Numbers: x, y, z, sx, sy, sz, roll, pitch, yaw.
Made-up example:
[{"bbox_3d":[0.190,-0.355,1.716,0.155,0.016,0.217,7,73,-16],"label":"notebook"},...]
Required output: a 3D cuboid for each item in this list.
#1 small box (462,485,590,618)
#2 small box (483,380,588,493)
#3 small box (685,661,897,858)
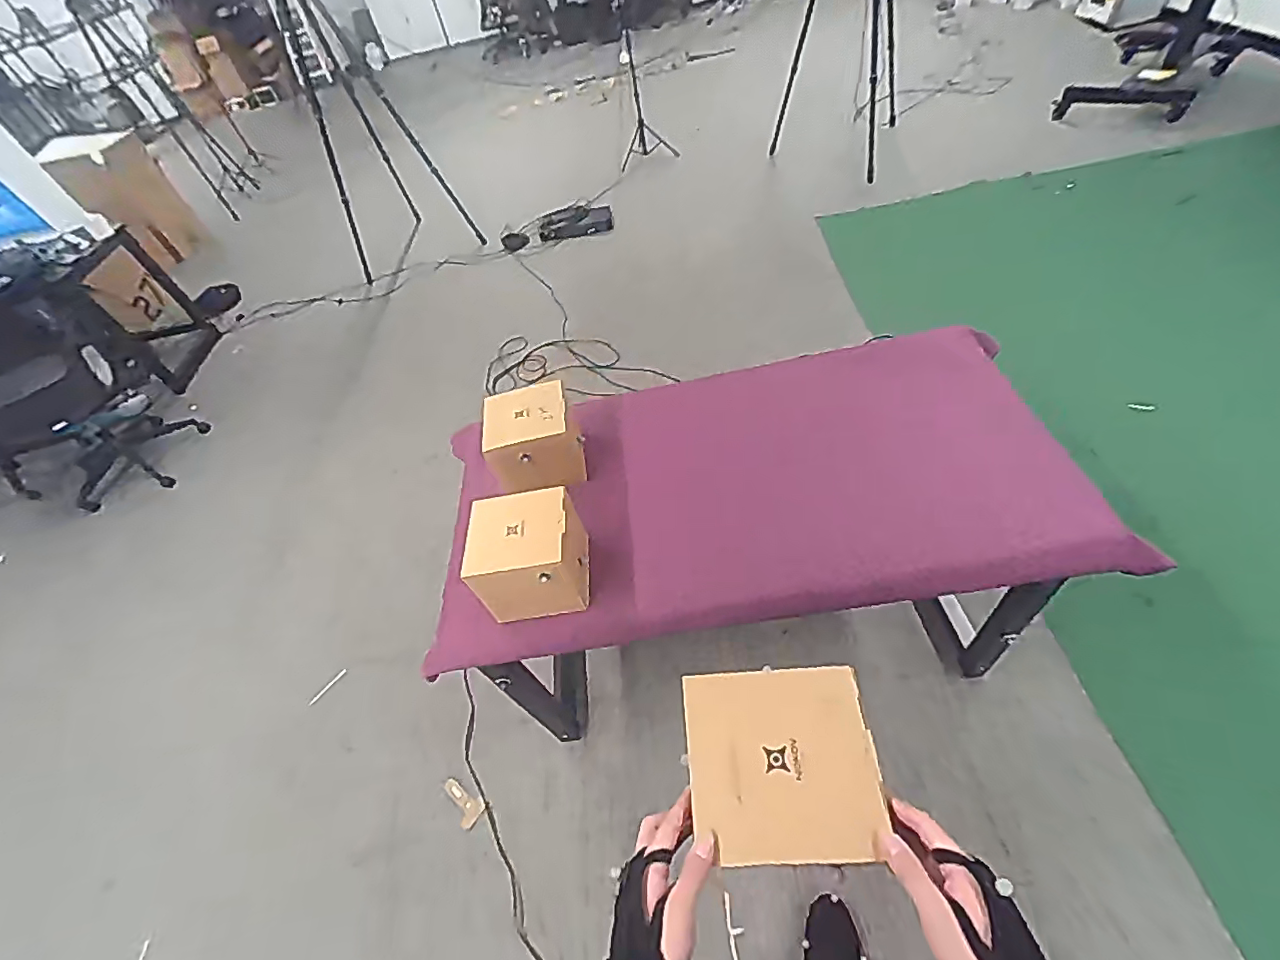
[{"bbox_3d":[-0.197,0.136,0.984,0.179,0.176,0.168,-9,48,5],"label":"small box"},{"bbox_3d":[-0.221,-0.086,1.171,0.179,0.176,0.168,-12,50,2],"label":"small box"},{"bbox_3d":[0.142,0.299,0.574,0.179,0.176,0.168,-5,55,7],"label":"small box"}]
